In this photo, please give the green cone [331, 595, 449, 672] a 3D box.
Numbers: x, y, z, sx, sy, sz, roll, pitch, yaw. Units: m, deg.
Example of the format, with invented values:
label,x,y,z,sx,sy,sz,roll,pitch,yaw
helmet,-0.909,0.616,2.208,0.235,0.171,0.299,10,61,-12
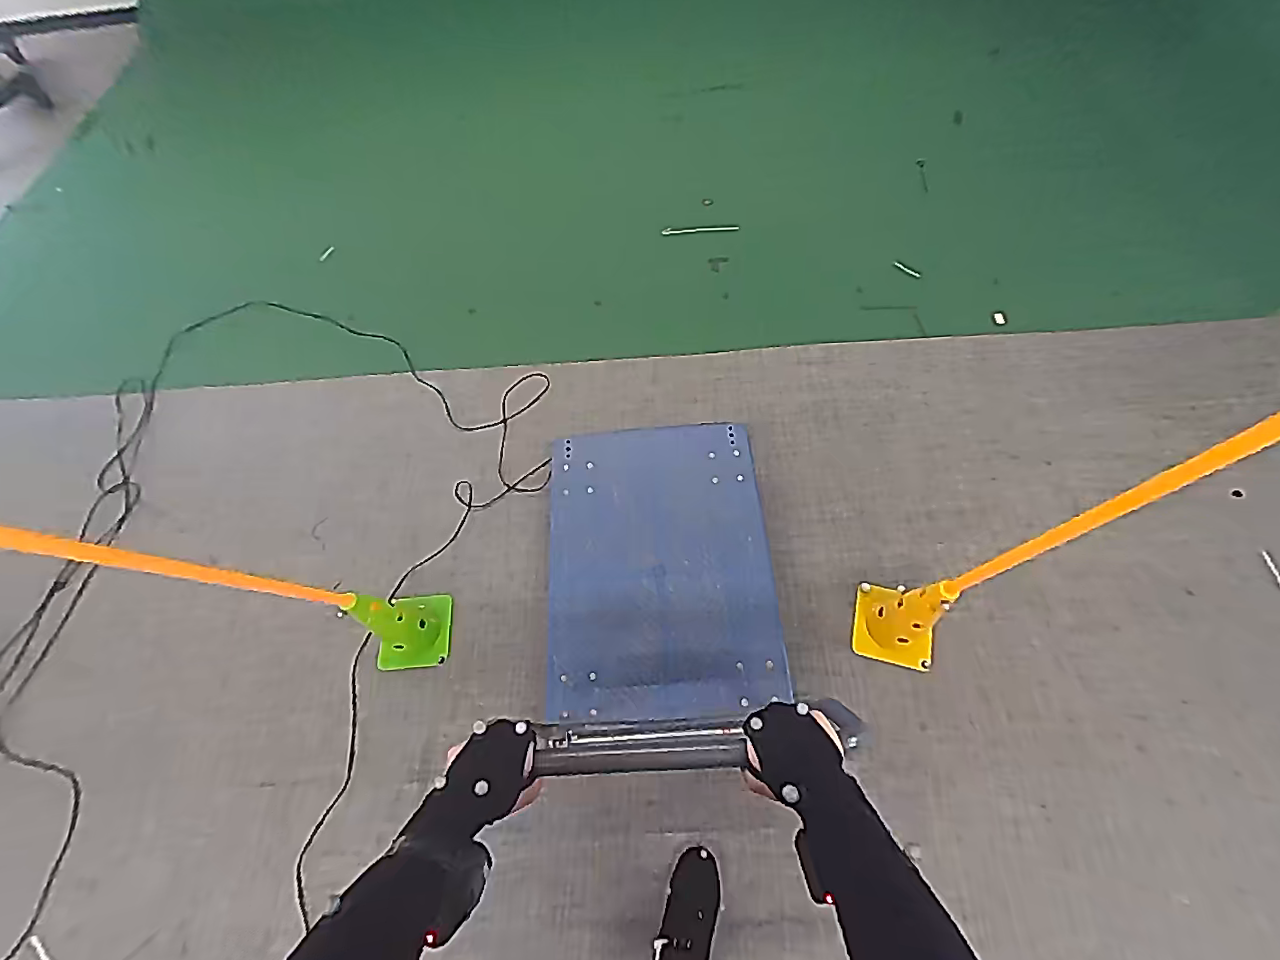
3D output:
label,x,y,z,sx,sy,sz,roll,pitch,yaw
green cone,-0.665,0.360,1.395,0.202,0.368,0.200,-7,62,3
